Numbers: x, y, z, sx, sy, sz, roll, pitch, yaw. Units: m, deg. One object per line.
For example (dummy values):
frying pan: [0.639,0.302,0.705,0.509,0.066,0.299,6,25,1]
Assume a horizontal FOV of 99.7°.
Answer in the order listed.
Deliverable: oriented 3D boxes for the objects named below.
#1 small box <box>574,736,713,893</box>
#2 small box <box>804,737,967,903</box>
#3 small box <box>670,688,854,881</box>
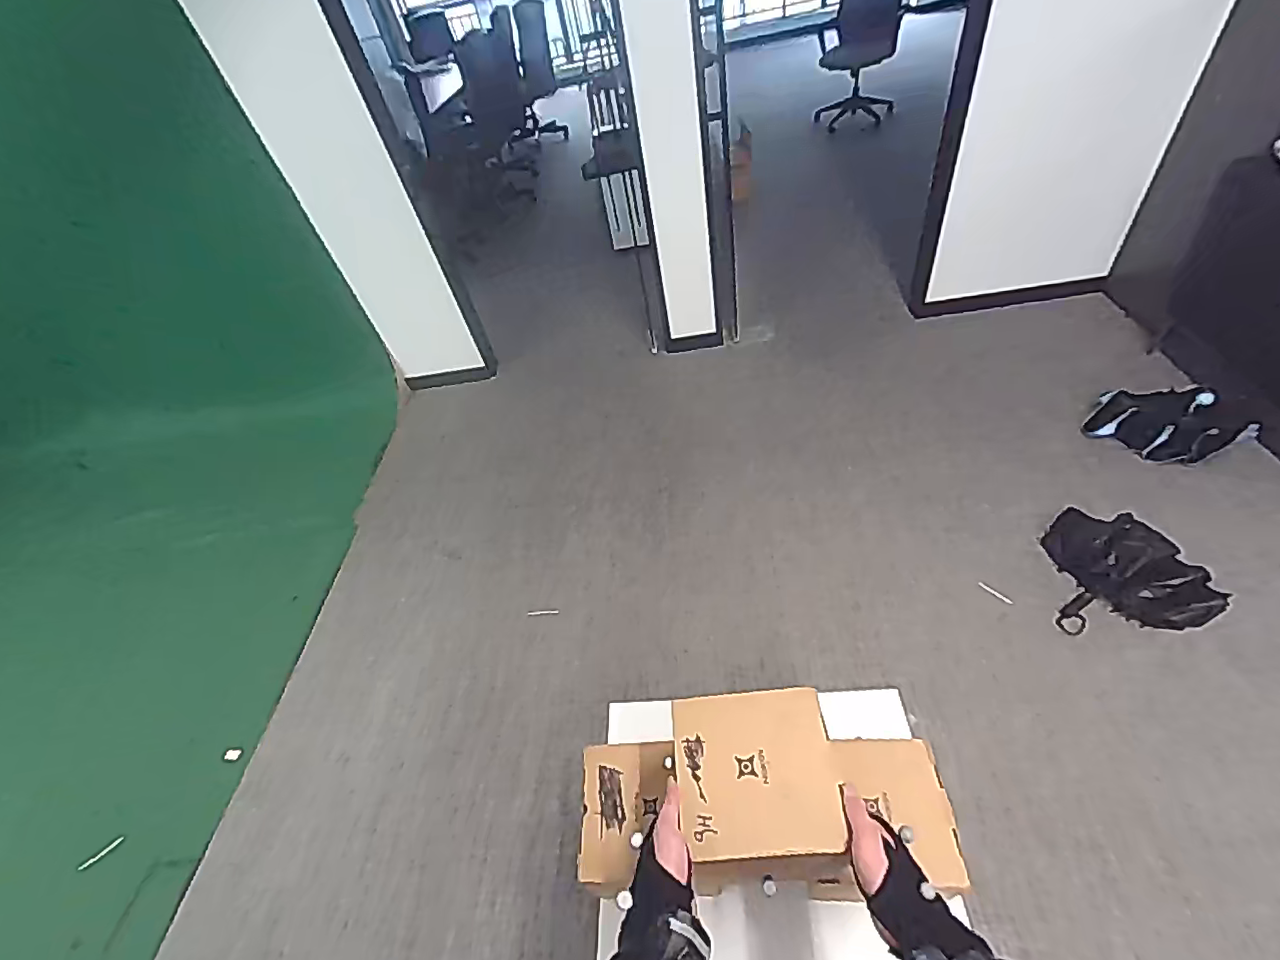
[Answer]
small box: [0.014,0.487,0.784,0.179,0.176,0.168,-6,47,5]
small box: [0.308,0.465,0.741,0.179,0.176,0.168,-6,46,10]
small box: [0.133,0.366,0.646,0.179,0.176,0.168,-6,46,5]
